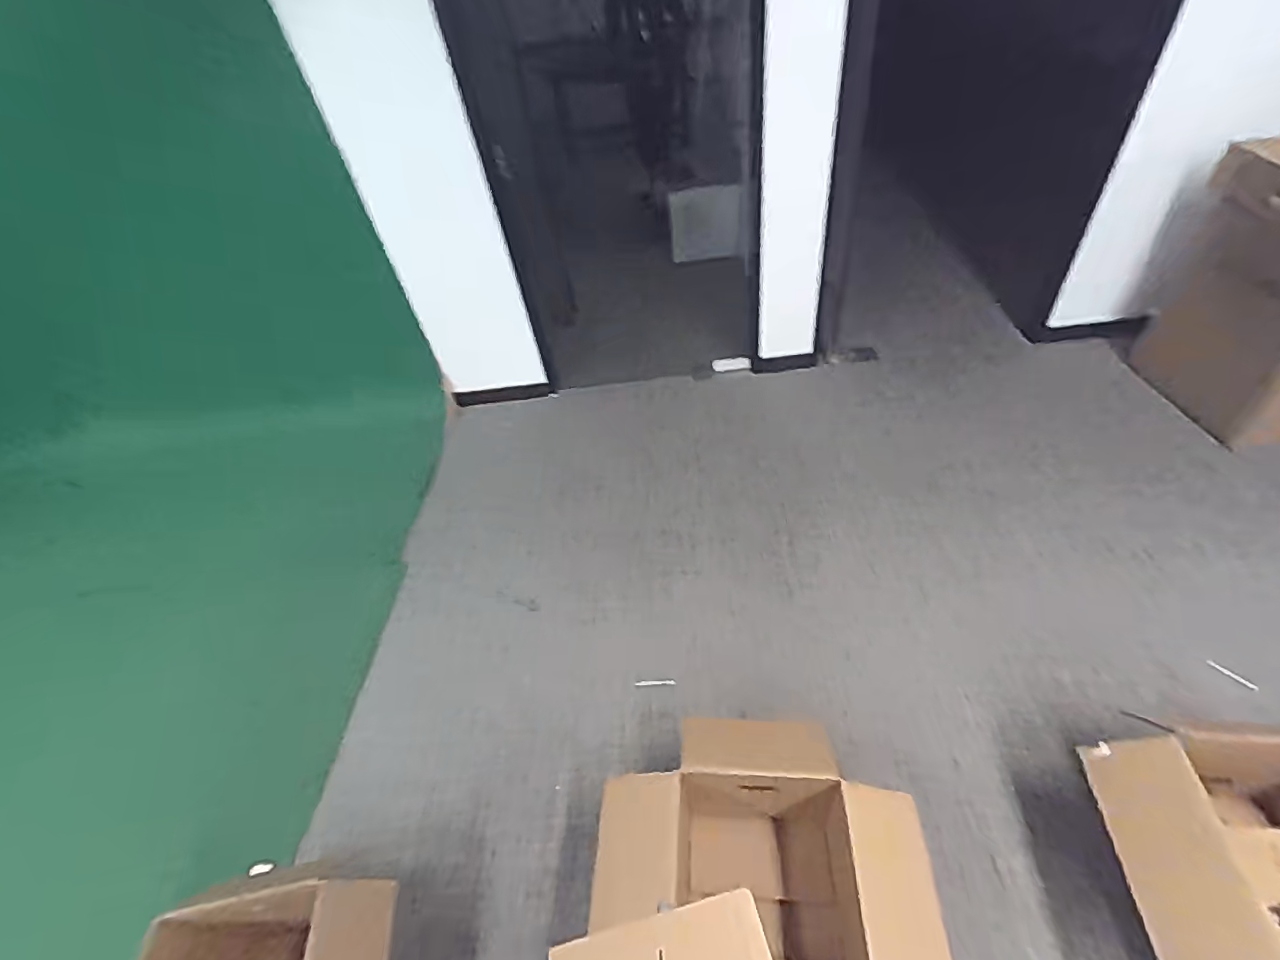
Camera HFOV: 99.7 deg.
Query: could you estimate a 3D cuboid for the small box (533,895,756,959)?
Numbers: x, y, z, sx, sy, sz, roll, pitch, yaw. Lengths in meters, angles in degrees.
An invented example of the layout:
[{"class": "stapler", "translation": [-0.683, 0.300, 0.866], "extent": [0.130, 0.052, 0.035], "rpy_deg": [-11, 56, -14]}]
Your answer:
[{"class": "small box", "translation": [0.024, 0.455, 0.417], "extent": [0.168, 0.176, 0.179], "rpy_deg": [-13, 47, -5]}]
